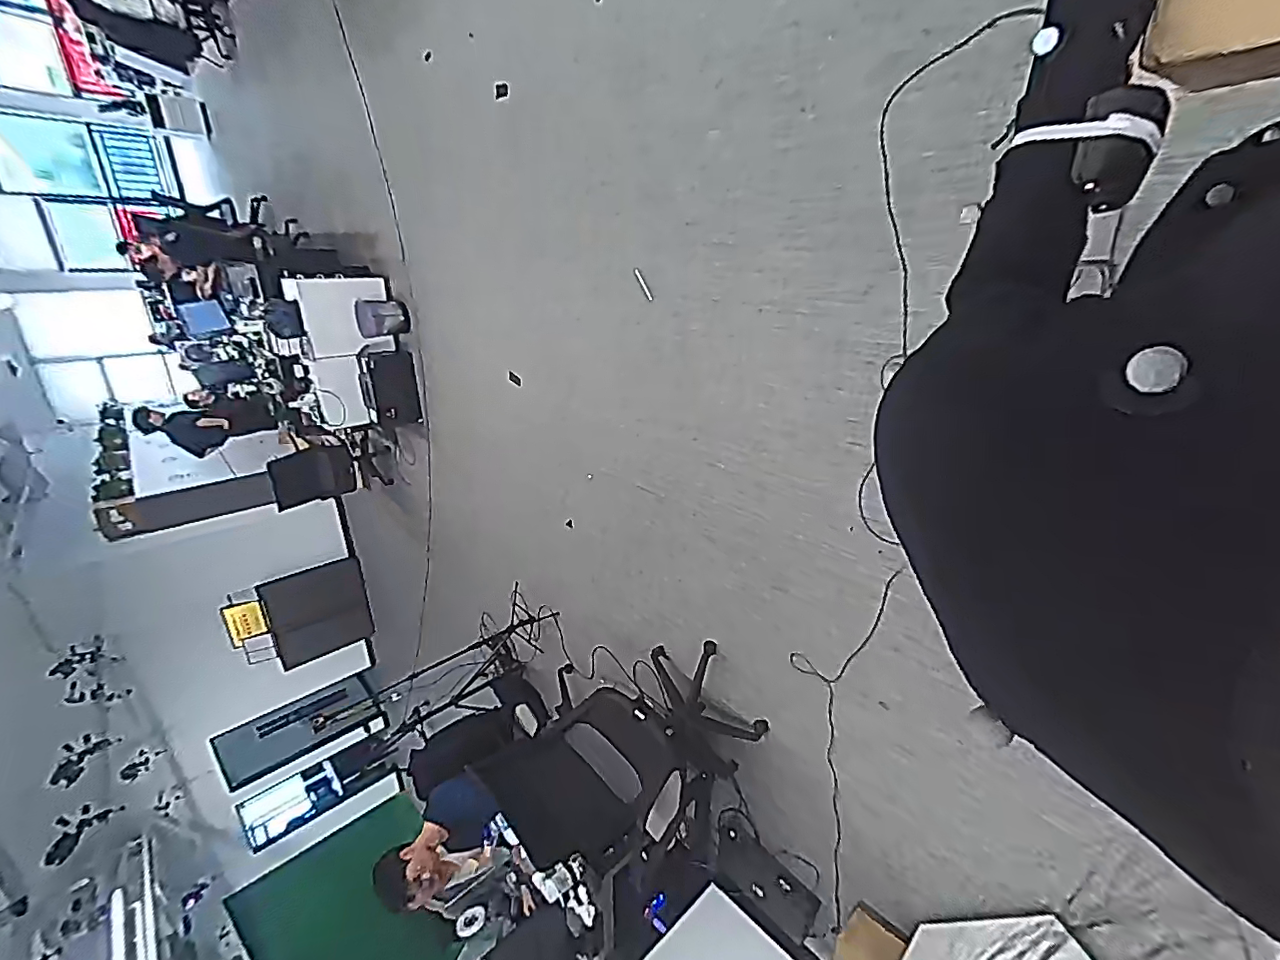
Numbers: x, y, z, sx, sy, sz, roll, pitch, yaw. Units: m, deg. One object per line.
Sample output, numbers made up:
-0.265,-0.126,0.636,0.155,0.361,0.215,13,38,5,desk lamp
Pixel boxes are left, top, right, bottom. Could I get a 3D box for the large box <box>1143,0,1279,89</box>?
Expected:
0.585,-0.460,0.291,0.408,0.320,0.320,16,124,43,large box
